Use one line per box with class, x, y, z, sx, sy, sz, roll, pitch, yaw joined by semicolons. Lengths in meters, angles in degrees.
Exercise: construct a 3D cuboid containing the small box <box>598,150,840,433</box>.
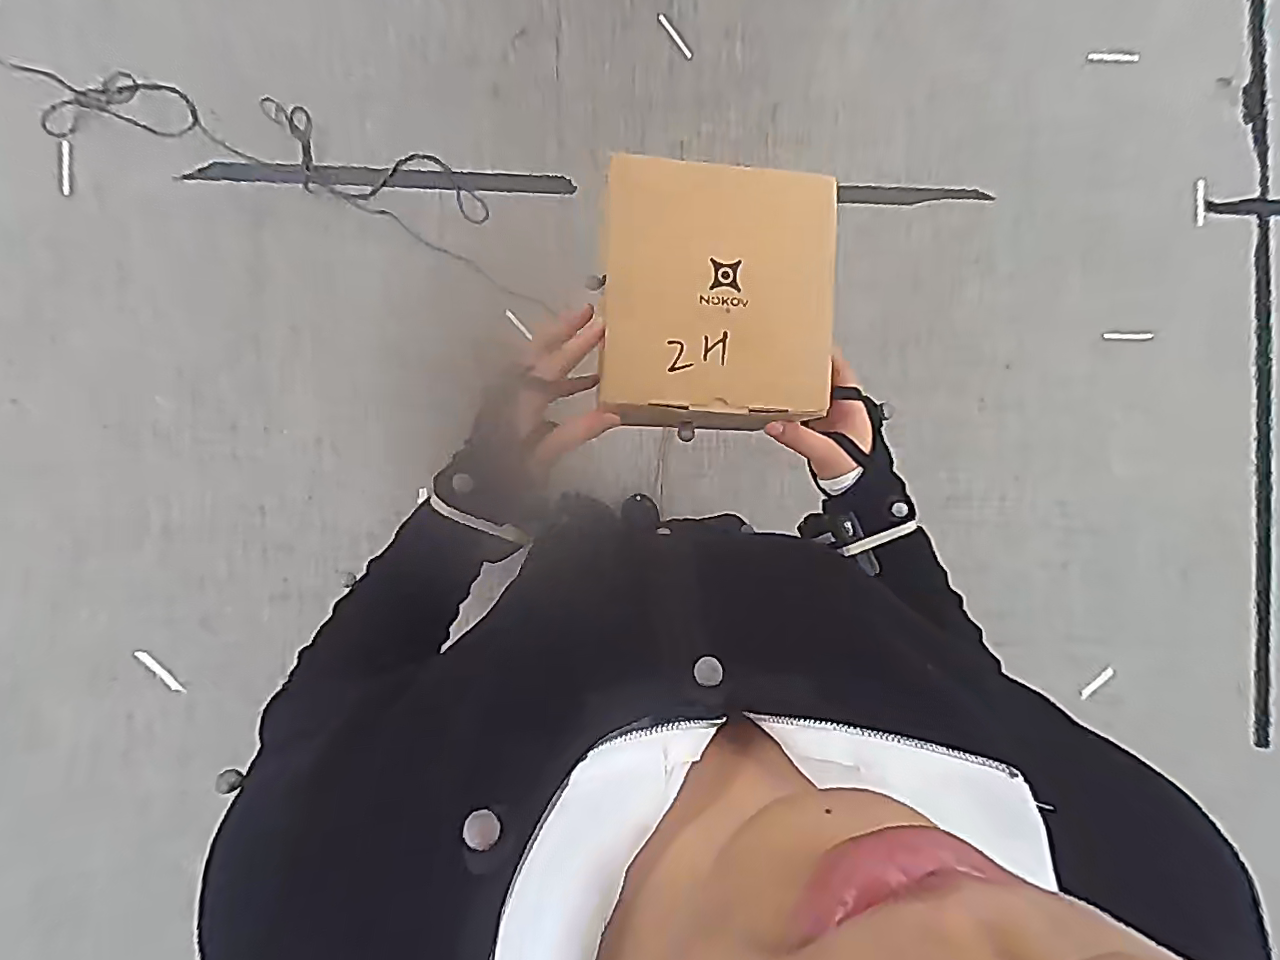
small box;0.051;-0.138;0.460;0.168;0.176;0.179;2;90;-6
